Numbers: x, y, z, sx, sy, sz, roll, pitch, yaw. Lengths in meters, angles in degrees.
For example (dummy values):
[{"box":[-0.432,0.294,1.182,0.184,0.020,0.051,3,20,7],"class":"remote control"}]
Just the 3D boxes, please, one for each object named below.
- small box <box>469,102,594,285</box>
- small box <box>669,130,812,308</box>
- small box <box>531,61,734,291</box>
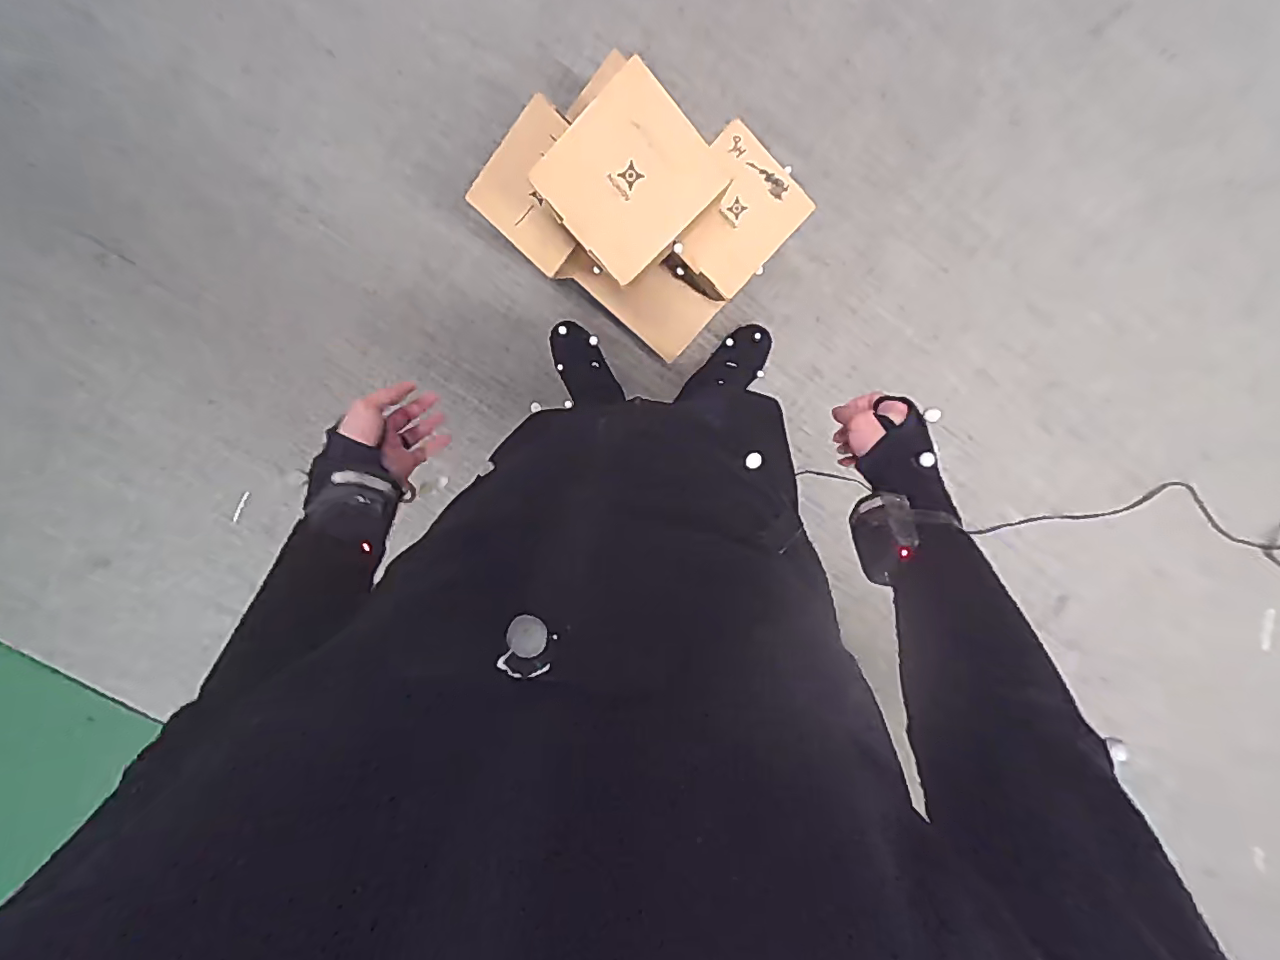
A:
[{"box":[-0.127,-0.429,0.843,0.168,0.176,0.179,43,107,-11],"class":"small box"},{"box":[0.133,-0.388,0.846,0.168,0.176,0.179,42,104,-10],"class":"small box"},{"box":[-0.006,-0.360,0.688,0.179,0.176,0.168,-41,103,12],"class":"small box"}]
